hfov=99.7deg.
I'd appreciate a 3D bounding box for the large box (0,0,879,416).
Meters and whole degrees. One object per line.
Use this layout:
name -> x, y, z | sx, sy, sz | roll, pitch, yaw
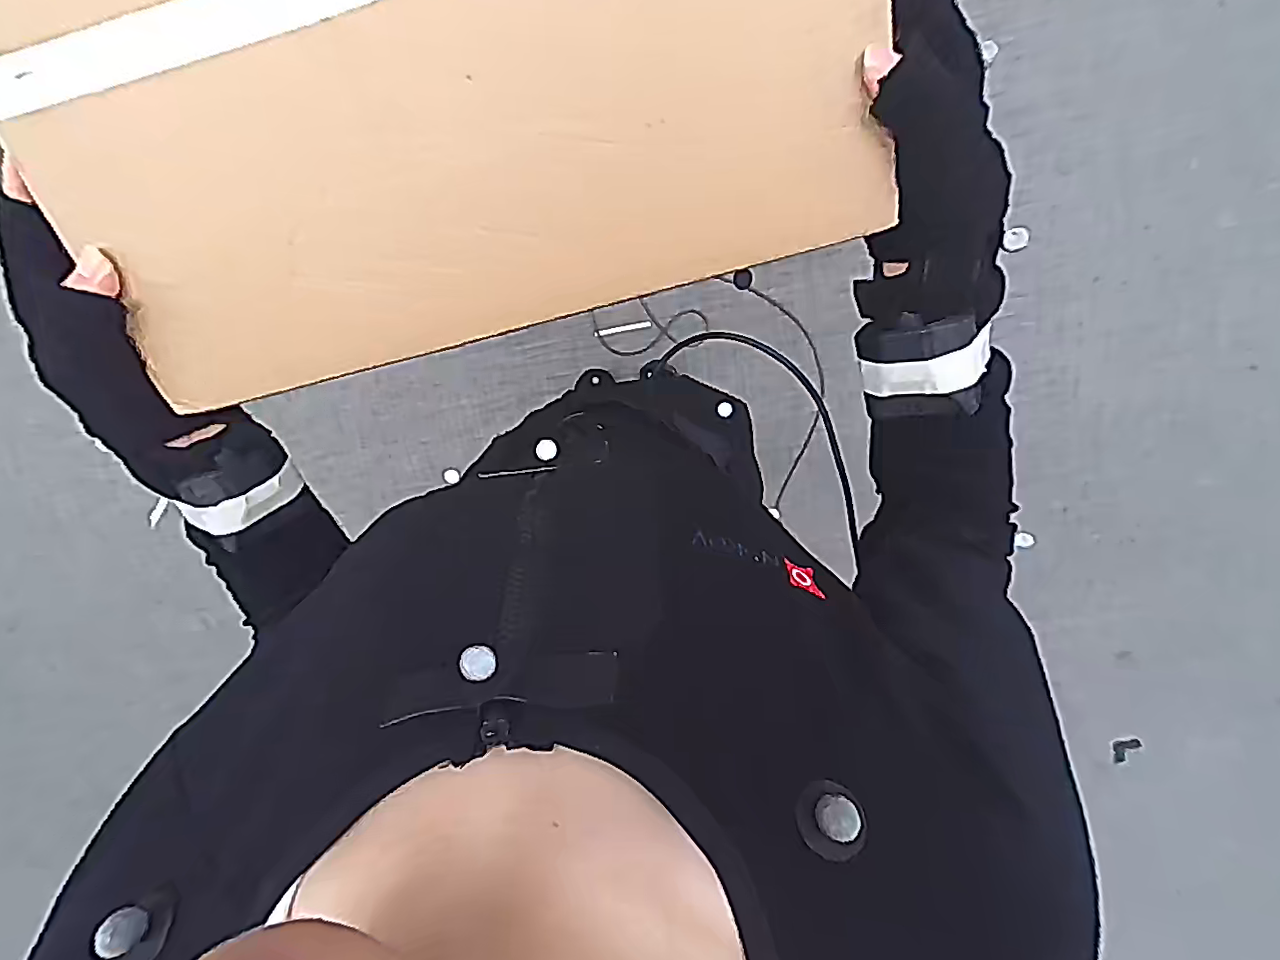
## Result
large box -> -0.104, -0.280, 0.375 | 0.408, 0.320, 0.320 | -13, 113, 5
